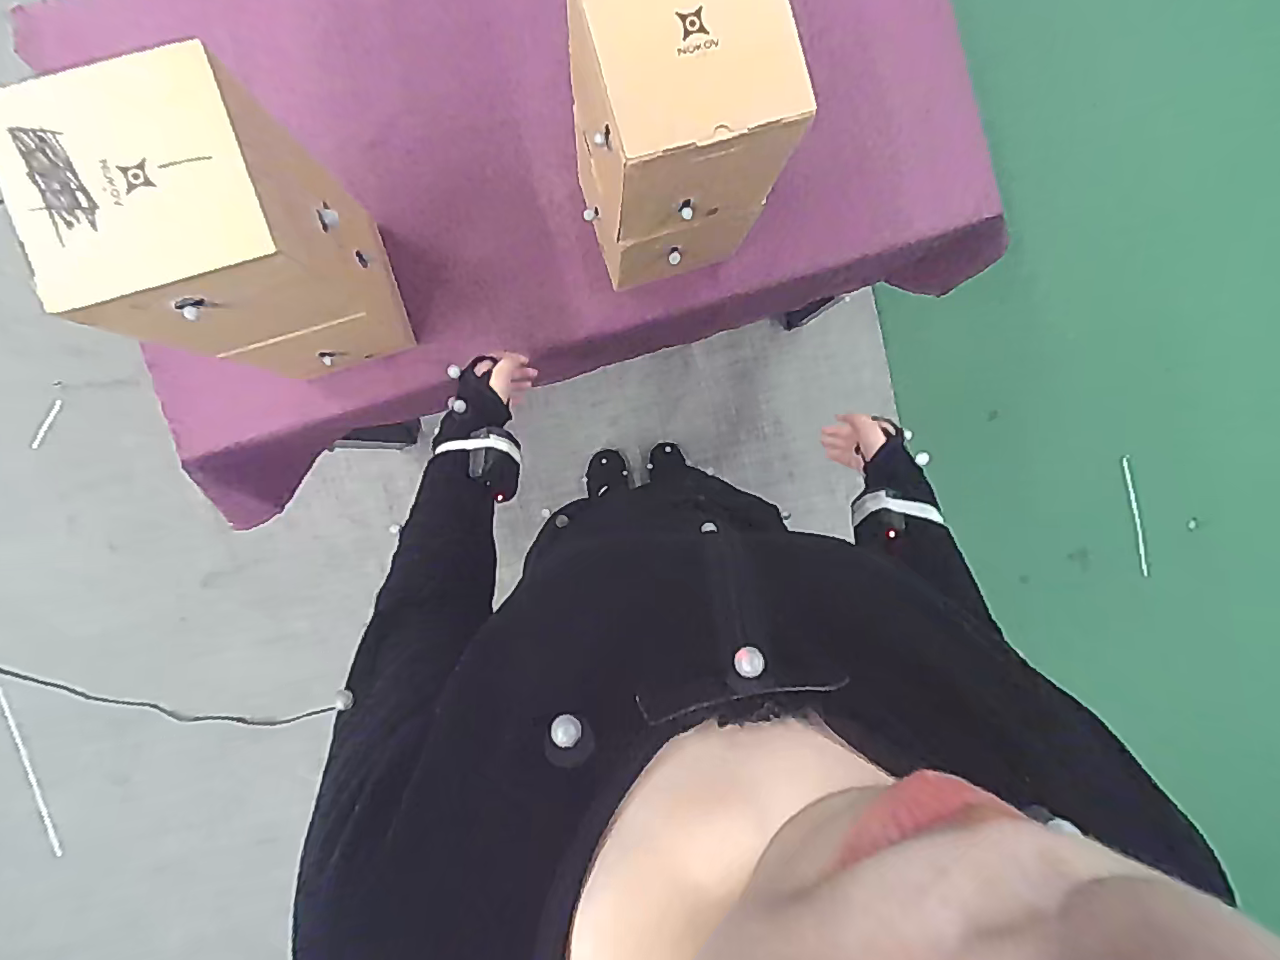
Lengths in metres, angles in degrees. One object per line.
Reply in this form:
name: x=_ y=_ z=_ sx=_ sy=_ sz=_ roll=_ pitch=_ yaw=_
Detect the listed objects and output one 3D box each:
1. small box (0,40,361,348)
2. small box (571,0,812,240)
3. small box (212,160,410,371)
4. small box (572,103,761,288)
small box: x=-0.391 y=-0.231 z=0.485 sx=0.179 sy=0.176 sz=0.168 roll=-18 pitch=94 yaw=-4
small box: x=0.034 y=-0.361 z=0.511 sx=0.168 sy=0.176 sz=0.179 roll=-17 pitch=94 yaw=-4
small box: x=-0.402 y=-0.238 z=0.649 sx=0.168 sy=0.176 sz=0.179 roll=-17 pitch=93 yaw=-4
small box: x=0.027 y=-0.361 z=0.674 sx=0.179 sy=0.176 sz=0.168 roll=-18 pitch=93 yaw=-2
